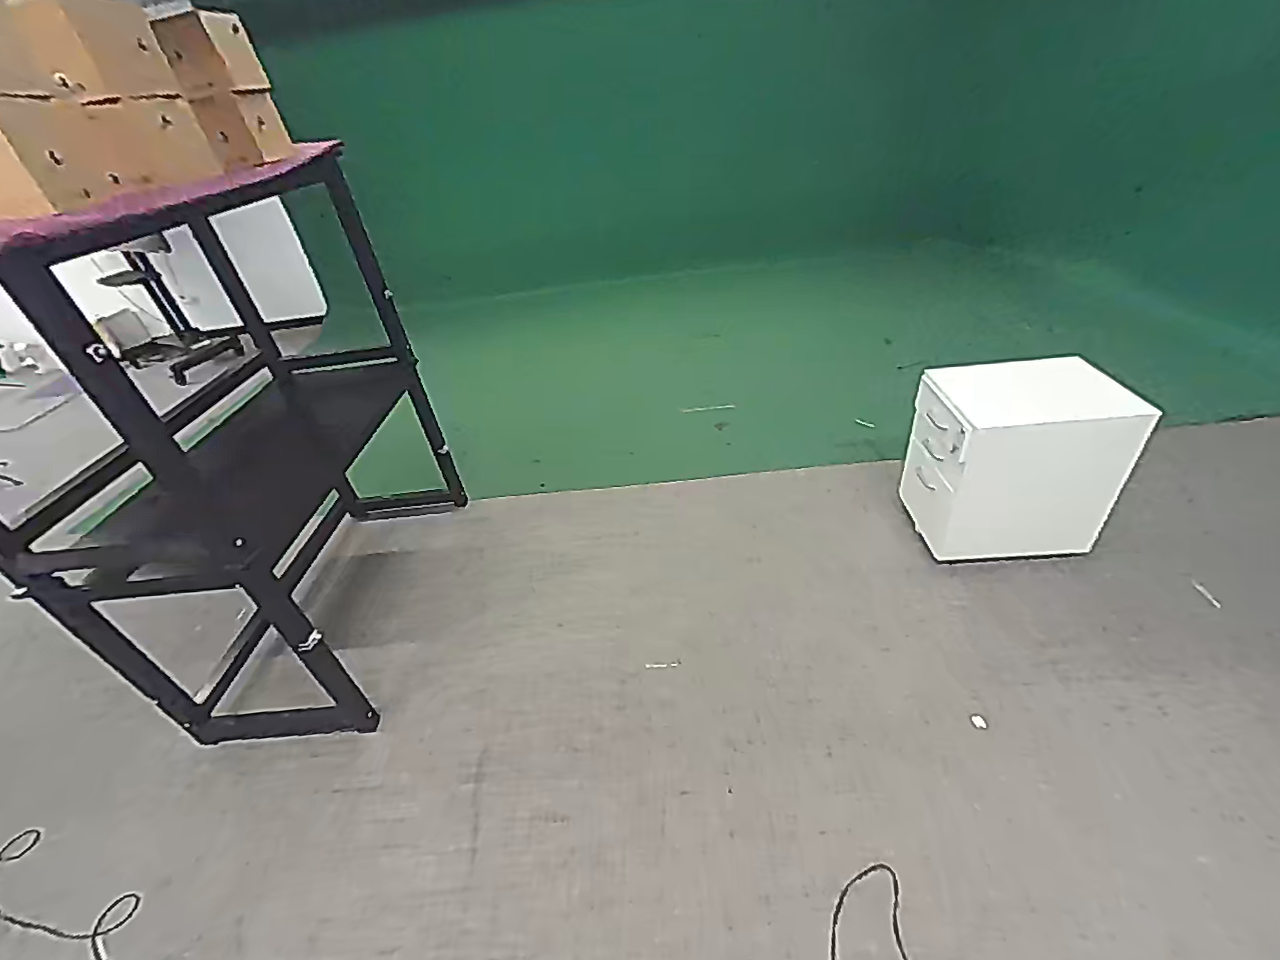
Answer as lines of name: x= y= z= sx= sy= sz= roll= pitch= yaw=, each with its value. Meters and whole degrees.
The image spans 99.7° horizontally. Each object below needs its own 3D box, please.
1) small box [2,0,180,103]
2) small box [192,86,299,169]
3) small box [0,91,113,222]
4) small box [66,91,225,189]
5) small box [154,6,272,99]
small box: x=-1.129 y=-0.902 z=1.137 sx=0.168 sy=0.176 sz=0.179 roll=1 pitch=38 yaw=13
small box: x=-1.122 y=-1.002 z=1.541 sx=0.168 sy=0.176 sz=0.179 roll=-7 pitch=38 yaw=6
small box: x=-1.072 y=-0.545 z=0.914 sx=0.179 sy=0.176 sz=0.168 roll=-12 pitch=35 yaw=-6
small box: x=-1.111 y=-0.775 z=1.237 sx=0.168 sy=0.176 sz=0.179 roll=-4 pitch=36 yaw=5
small box: x=-1.134 y=-1.132 z=1.442 sx=0.168 sy=0.176 sz=0.179 roll=-7 pitch=37 yaw=6
